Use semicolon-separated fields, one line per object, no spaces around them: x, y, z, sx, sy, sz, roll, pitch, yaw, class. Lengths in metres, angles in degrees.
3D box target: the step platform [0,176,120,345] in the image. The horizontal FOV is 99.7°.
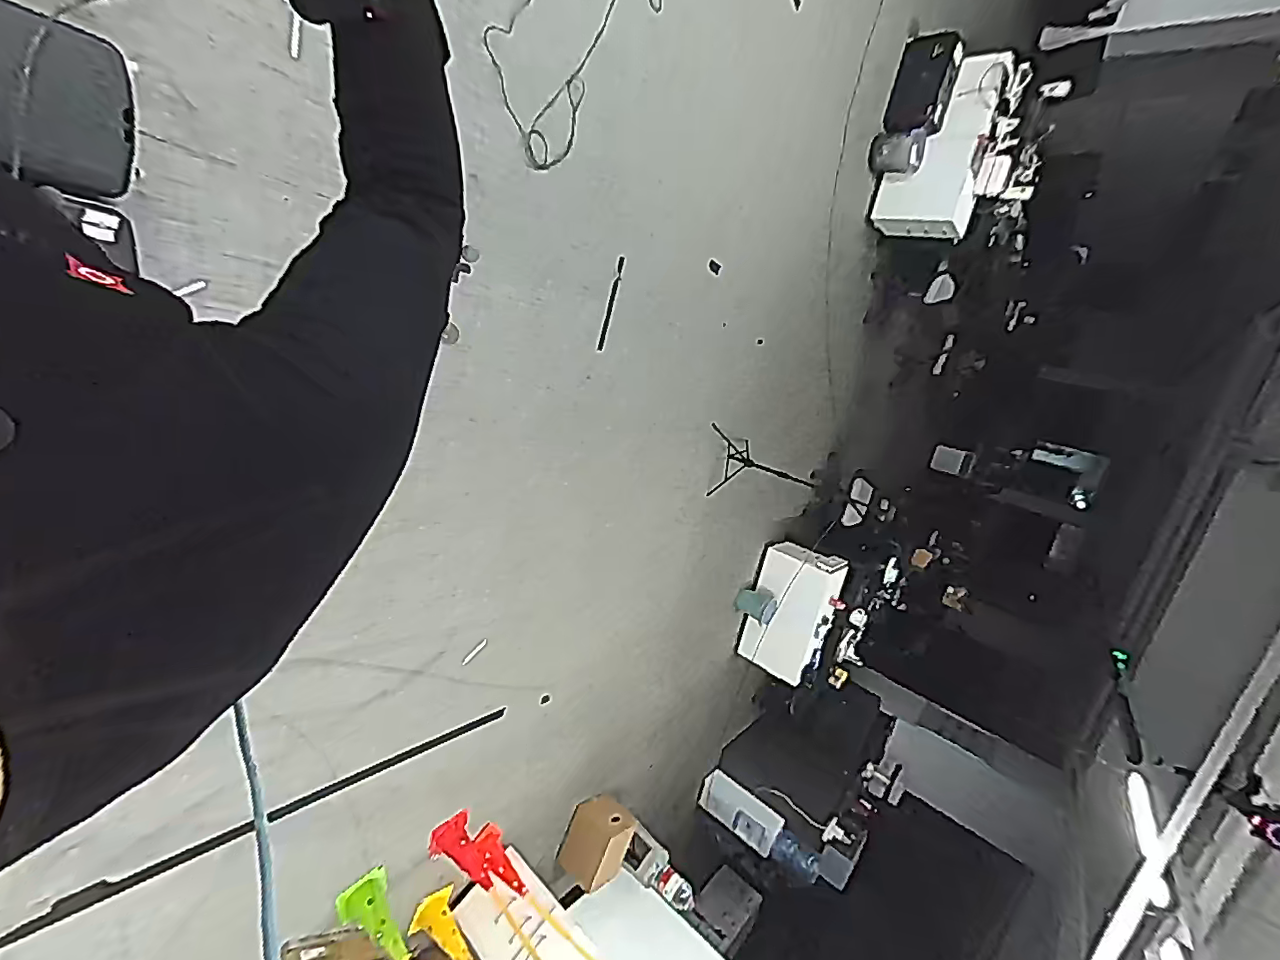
-1.300;-0.400;0.859;0.684;0.204;0.286;-6;113;-50;step platform
